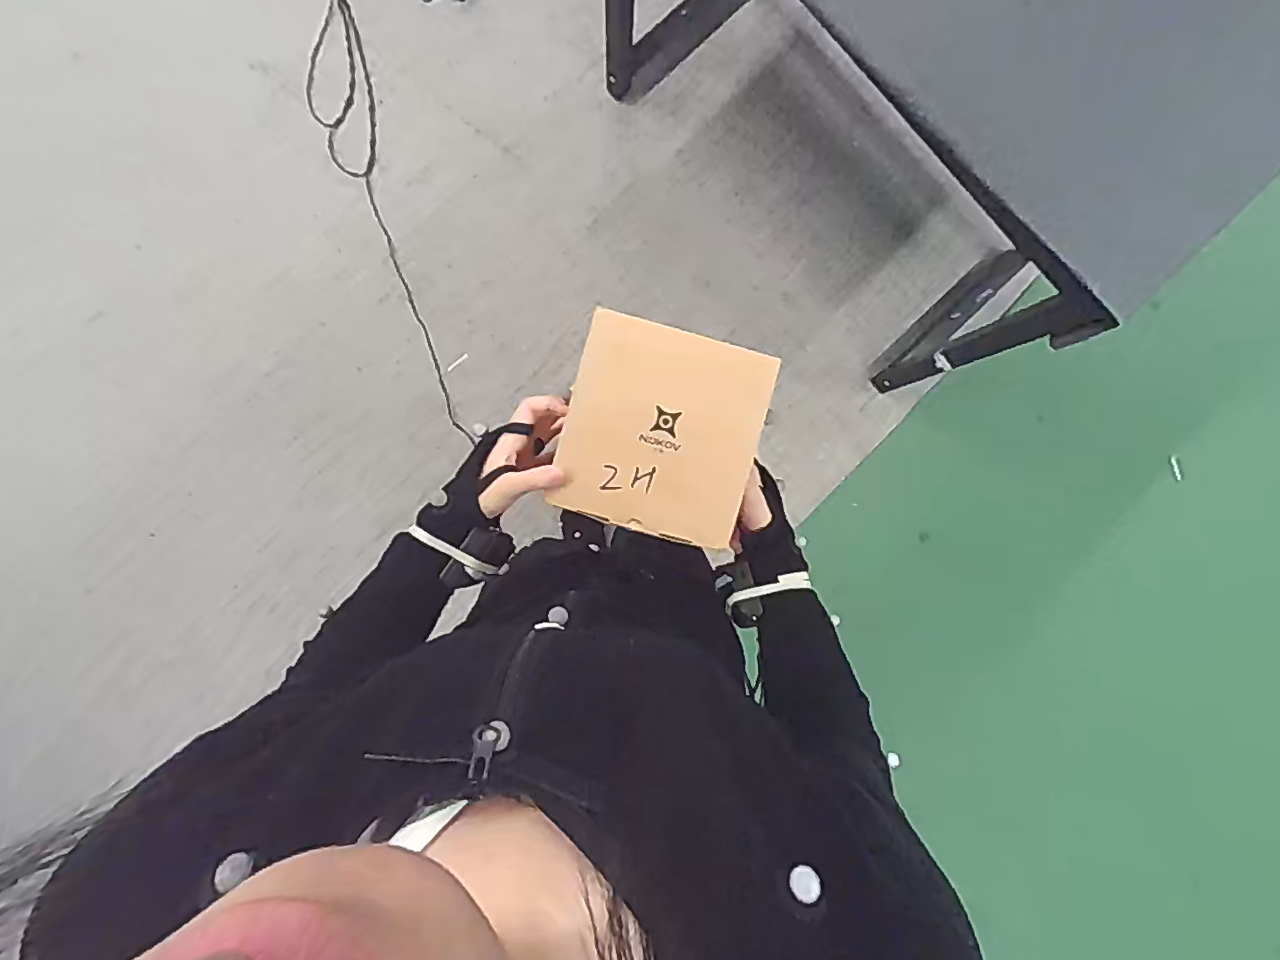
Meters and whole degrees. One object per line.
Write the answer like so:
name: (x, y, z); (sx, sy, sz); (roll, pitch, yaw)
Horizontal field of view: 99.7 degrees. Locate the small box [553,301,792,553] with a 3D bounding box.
small box: (0.023, -0.045, 0.531); (0.168, 0.176, 0.179); (17, 90, -3)
